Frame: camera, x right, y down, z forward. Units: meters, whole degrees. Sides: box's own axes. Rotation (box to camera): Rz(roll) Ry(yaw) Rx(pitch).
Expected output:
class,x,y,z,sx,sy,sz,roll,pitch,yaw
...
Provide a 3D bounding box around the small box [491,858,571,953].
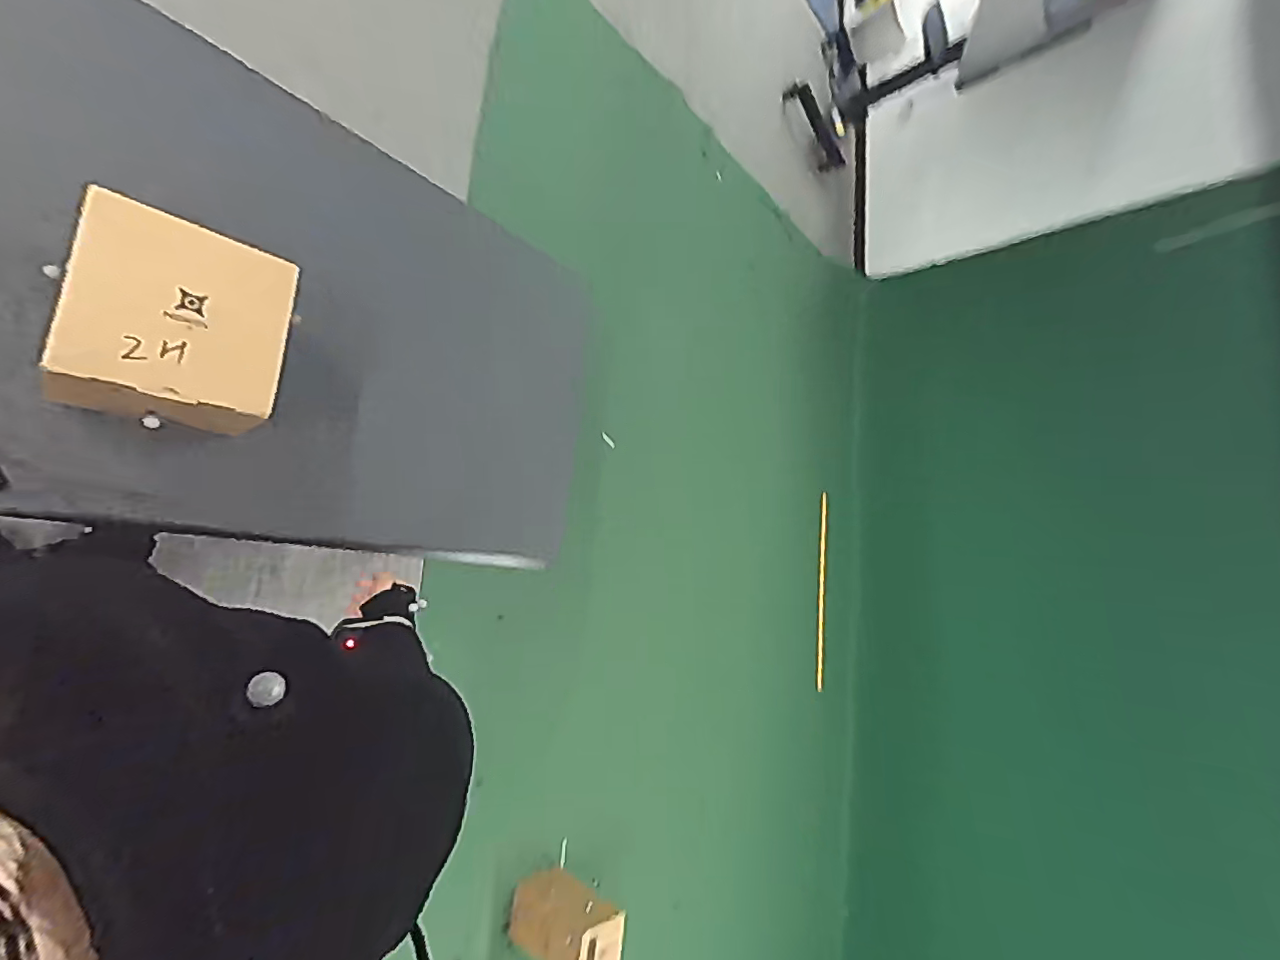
class,x,y,z,sx,sy,sz,roll,pitch,yaw
small box,-0.356,1.379,1.768,0.179,0.176,0.168,18,75,-46

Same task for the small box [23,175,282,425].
class,x,y,z,sx,sy,sz,roll,pitch,yaw
small box,-0.510,-0.167,0.570,0.168,0.176,0.179,14,77,-47
